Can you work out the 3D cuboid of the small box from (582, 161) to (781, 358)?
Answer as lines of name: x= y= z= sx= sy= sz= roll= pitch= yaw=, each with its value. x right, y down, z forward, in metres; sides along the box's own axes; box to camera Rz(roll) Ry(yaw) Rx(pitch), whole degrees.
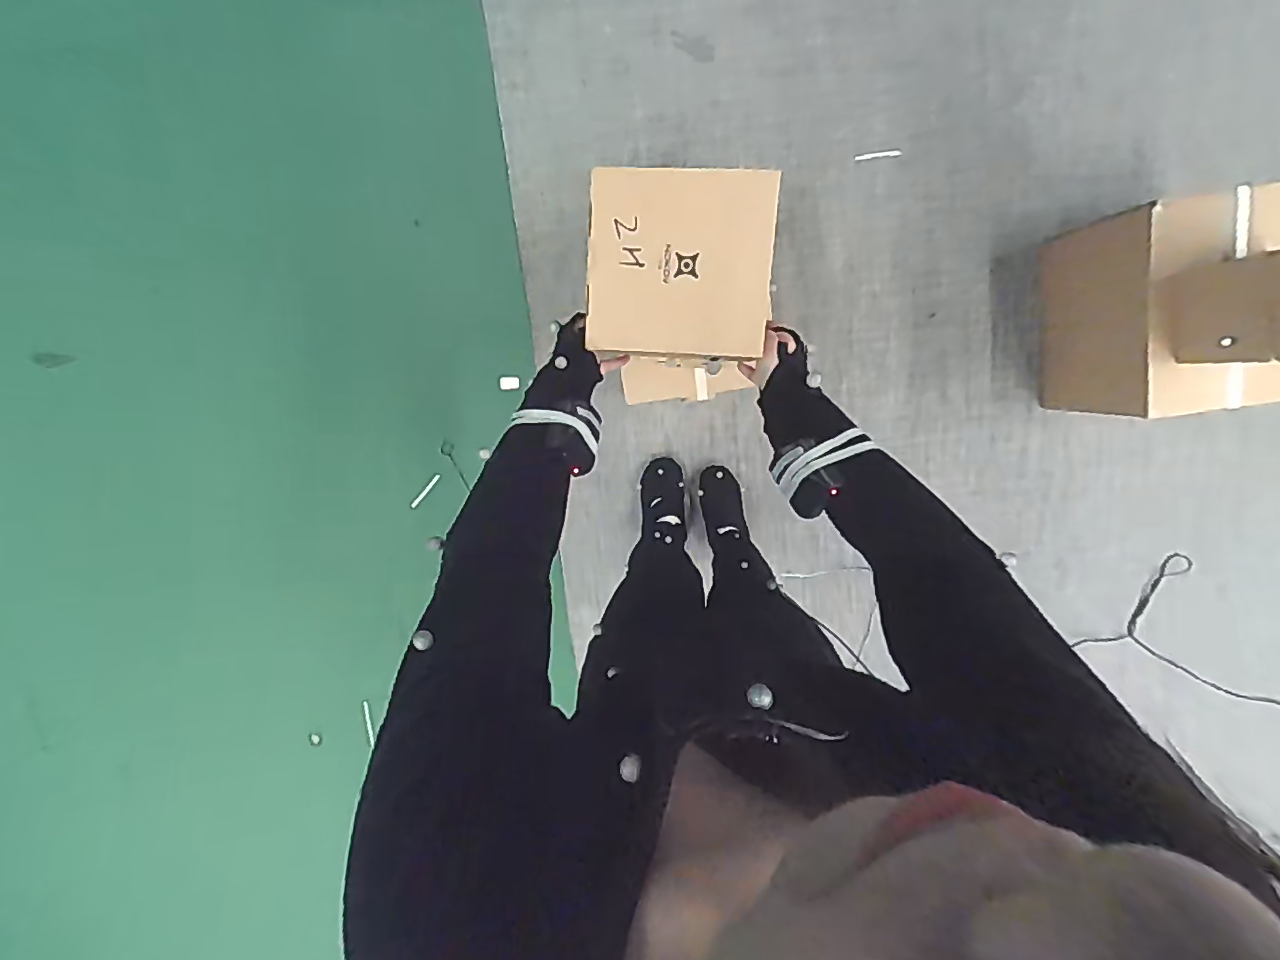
small box: x=0.043 y=-0.223 z=0.587 sx=0.179 sy=0.176 sz=0.168 roll=6 pitch=102 yaw=5

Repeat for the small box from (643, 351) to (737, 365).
small box: x=0.094 y=-0.305 z=0.982 sx=0.168 sy=0.176 sz=0.179 roll=4 pitch=101 yaw=3

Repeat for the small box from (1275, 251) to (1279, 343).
small box: x=1.084 y=-0.279 z=0.772 sx=0.168 sy=0.176 sz=0.179 roll=-15 pitch=100 yaw=7

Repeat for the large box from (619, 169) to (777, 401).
large box: x=0.108 y=-0.400 z=1.212 sx=0.320 sy=0.320 sz=0.408 roll=-7 pitch=99 yaw=4
